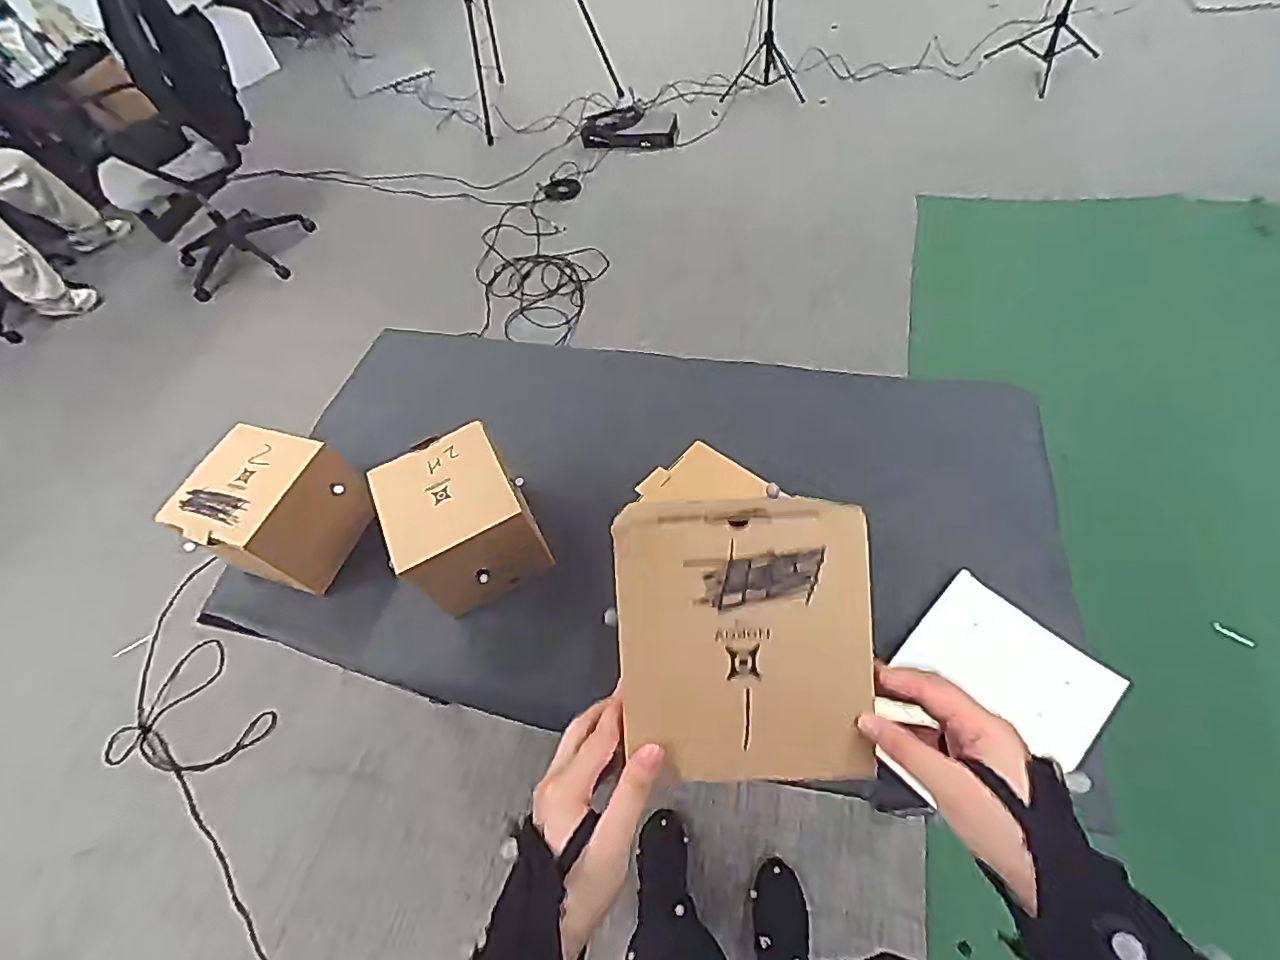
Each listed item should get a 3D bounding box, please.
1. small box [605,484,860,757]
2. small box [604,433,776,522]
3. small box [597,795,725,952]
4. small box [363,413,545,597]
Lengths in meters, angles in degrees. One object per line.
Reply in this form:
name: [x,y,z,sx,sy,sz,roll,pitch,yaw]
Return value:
small box: [0.062,0.092,0.433,0.168,0.176,0.179,-2,91,2]
small box: [0.083,0.079,0.691,0.179,0.176,0.168,35,69,27]
small box: [0.049,0.786,1.098,0.179,0.168,0.176,-28,86,-37]
small box: [-0.252,0.045,0.761,0.168,0.176,0.179,-27,58,-9]
